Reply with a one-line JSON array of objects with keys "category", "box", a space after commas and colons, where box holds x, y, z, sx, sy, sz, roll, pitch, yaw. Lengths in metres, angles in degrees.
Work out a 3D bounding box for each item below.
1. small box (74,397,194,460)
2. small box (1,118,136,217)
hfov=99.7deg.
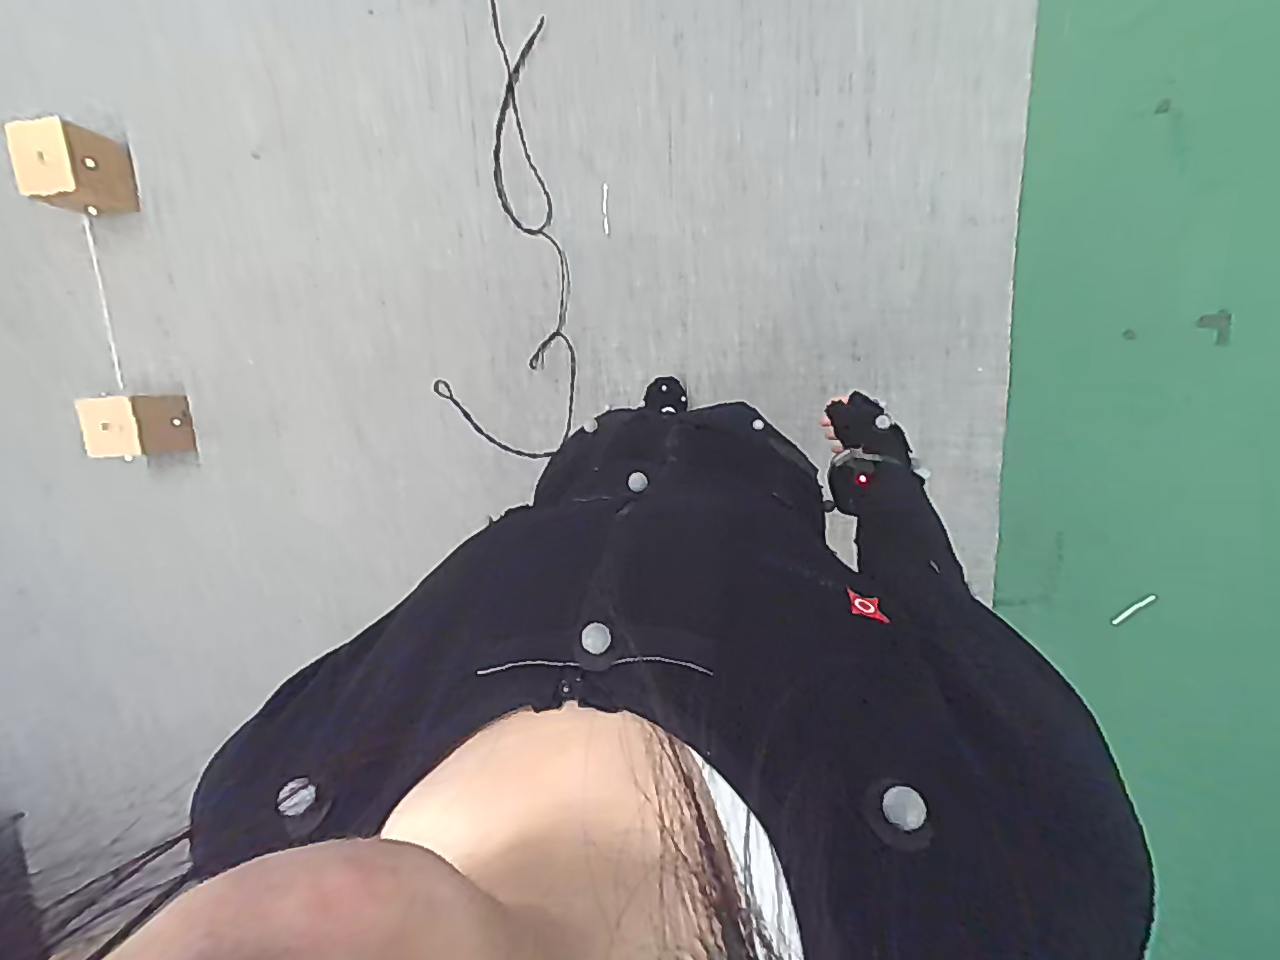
[{"category": "small box", "box": [-1.450, -0.152, 1.560, 0.179, 0.176, 0.168, -3, 100, 7]}, {"category": "small box", "box": [-1.510, -0.824, 1.441, 0.168, 0.176, 0.179, -3, 101, 7]}]
